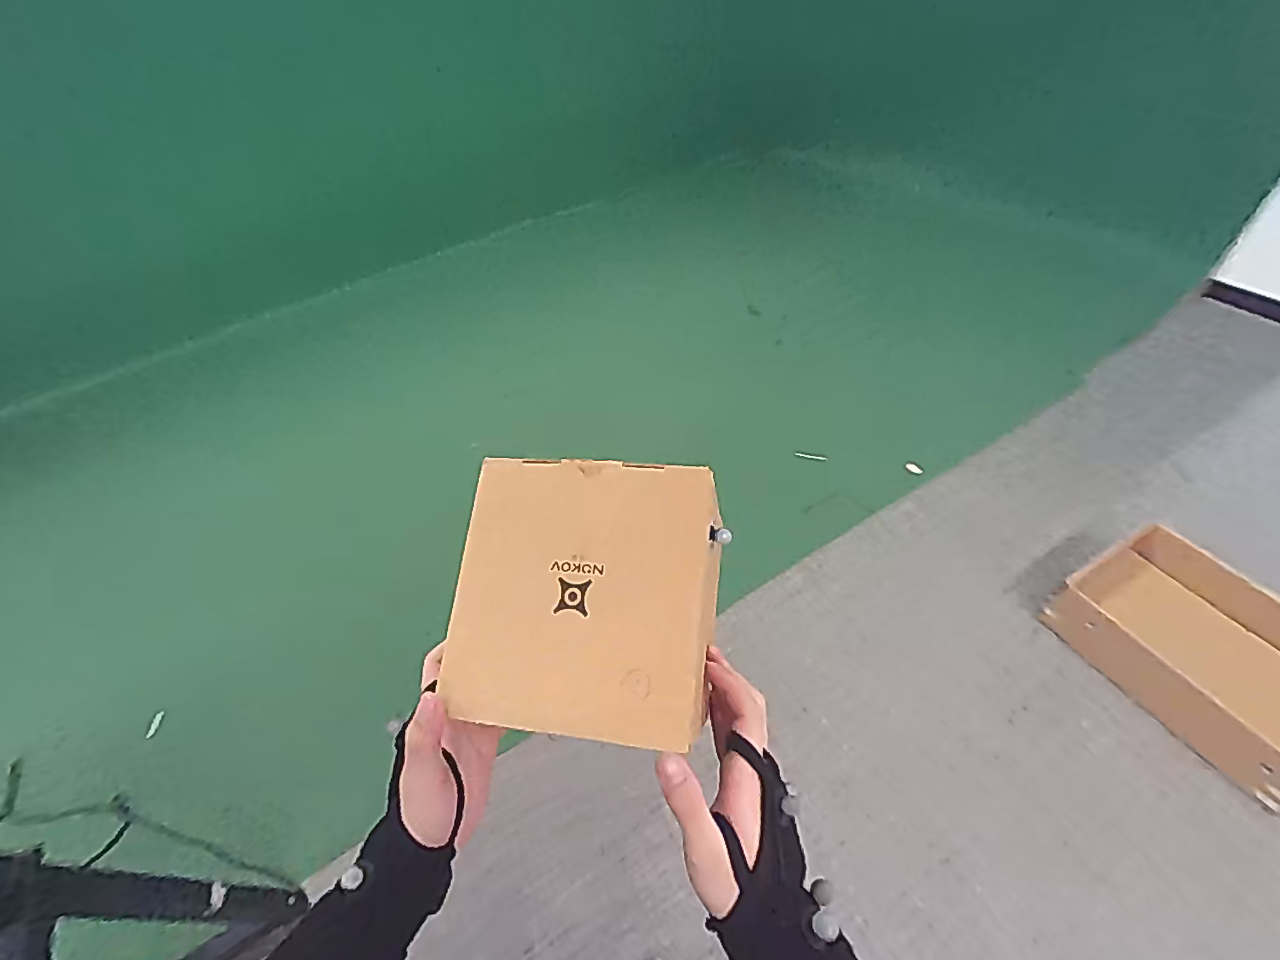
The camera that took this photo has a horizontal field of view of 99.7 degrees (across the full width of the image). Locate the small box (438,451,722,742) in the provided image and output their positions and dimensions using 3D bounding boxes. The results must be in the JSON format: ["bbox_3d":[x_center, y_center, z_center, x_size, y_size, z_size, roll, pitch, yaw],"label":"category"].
[{"bbox_3d":[-0.026,0.090,0.428,0.168,0.176,0.179,3,72,13],"label":"small box"}]
